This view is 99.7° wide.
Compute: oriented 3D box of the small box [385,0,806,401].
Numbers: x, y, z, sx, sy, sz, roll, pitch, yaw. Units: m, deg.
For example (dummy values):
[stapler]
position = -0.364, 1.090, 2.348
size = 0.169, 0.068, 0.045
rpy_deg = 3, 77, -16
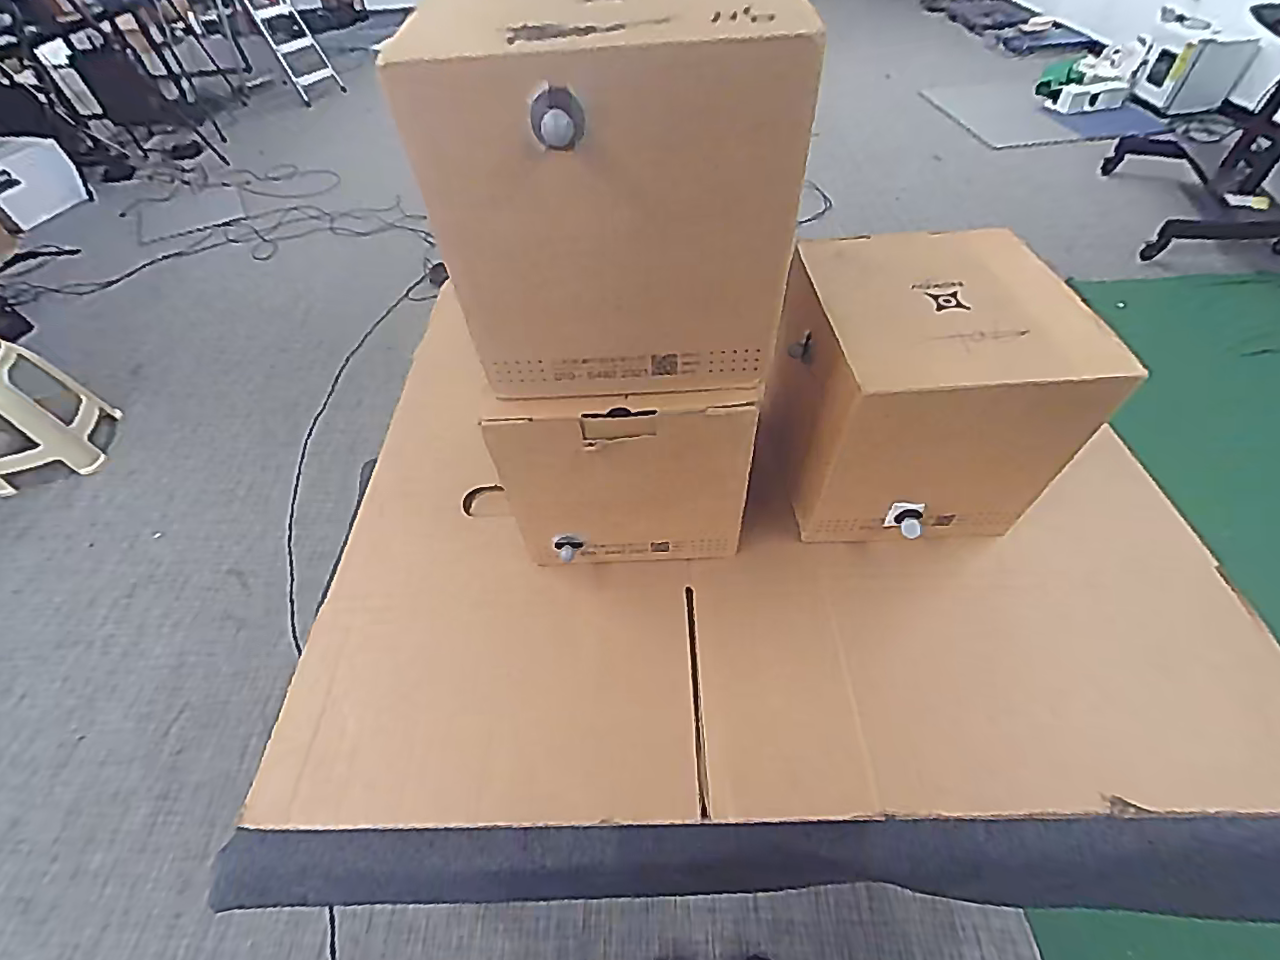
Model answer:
[small box]
position = -0.014, -0.166, 0.319
size = 0.168, 0.176, 0.179
rpy_deg = -2, 51, 3
